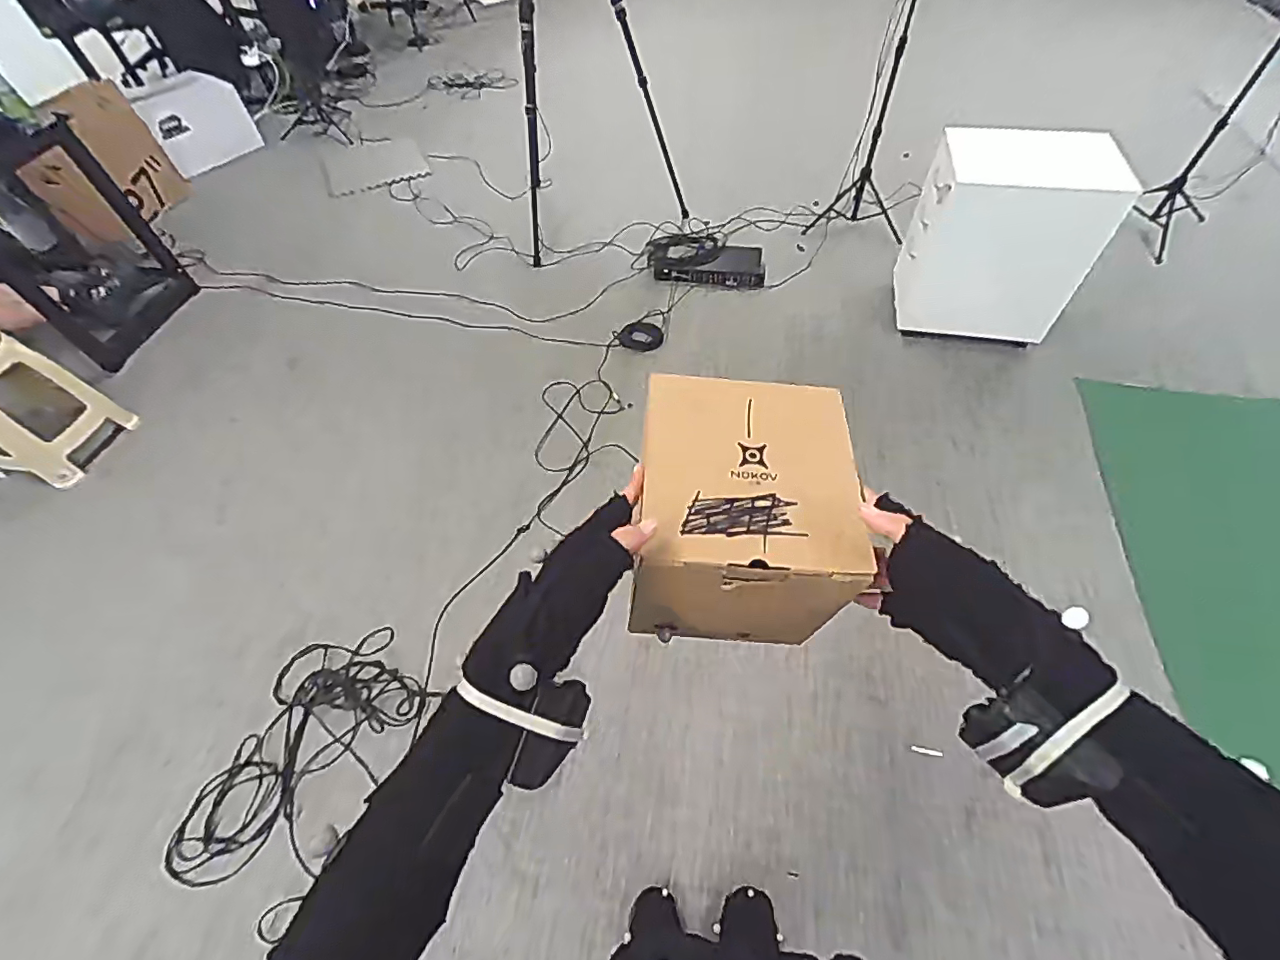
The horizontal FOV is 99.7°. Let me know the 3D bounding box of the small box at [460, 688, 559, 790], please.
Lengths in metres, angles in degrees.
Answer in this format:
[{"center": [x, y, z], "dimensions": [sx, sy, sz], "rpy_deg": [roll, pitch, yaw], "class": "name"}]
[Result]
[{"center": [-0.298, 0.616, 1.283], "dimensions": [0.168, 0.176, 0.179], "rpy_deg": [5, 54, 9], "class": "small box"}]
